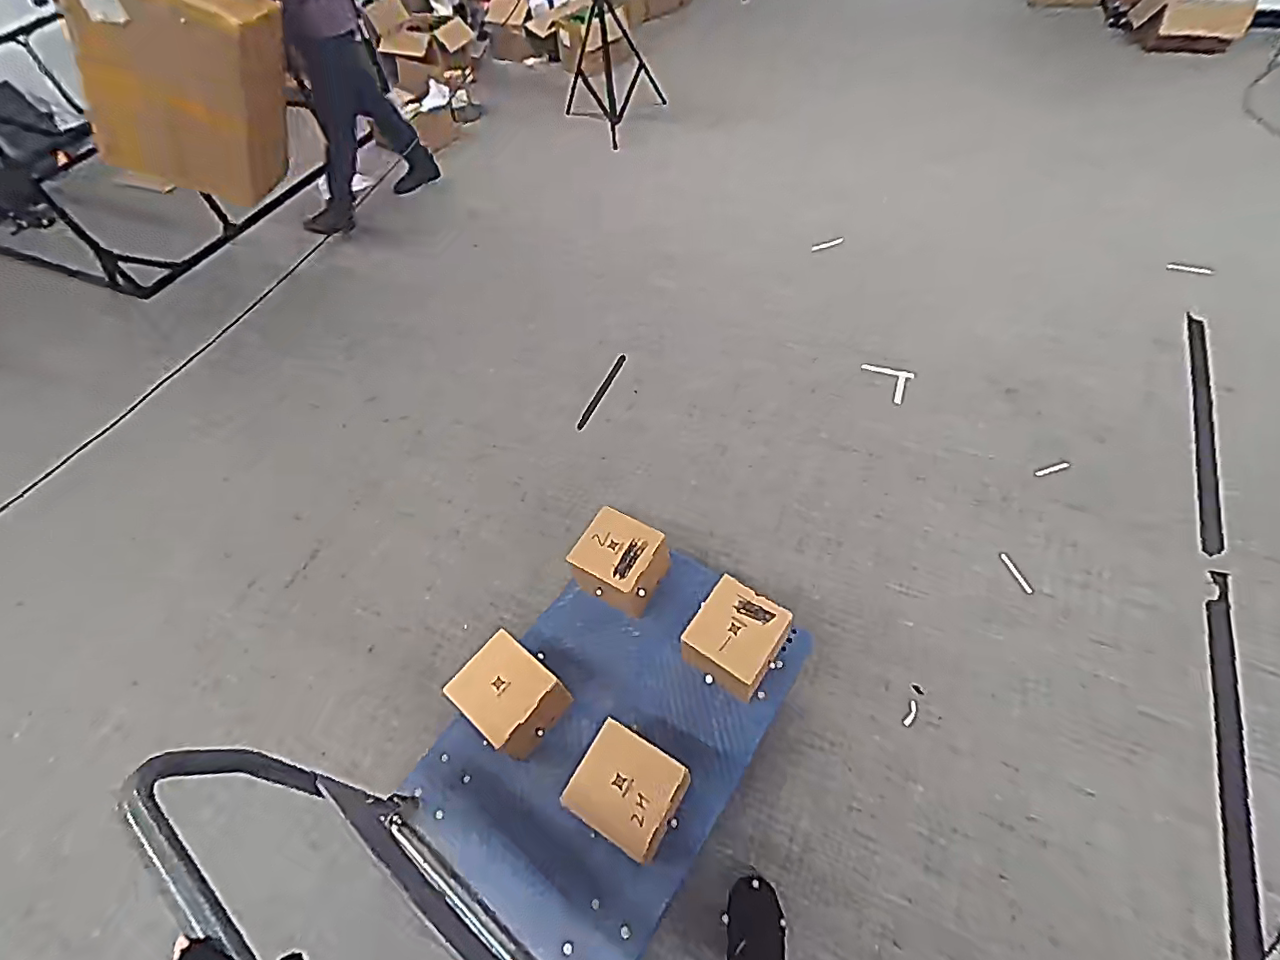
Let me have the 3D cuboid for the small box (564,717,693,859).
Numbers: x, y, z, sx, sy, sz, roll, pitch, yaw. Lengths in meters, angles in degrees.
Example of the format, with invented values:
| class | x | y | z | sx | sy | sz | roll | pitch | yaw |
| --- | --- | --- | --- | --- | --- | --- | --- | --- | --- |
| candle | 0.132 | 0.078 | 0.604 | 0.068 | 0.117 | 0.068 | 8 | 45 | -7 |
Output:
| class | x | y | z | sx | sy | sz | roll | pitch | yaw |
| --- | --- | --- | --- | --- | --- | --- | --- | --- | --- |
| small box | -0.014 | 0.587 | 1.026 | 0.179 | 0.176 | 0.168 | 24 | 62 | 23 |

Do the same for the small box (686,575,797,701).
| class | x | y | z | sx | sy | sz | roll | pitch | yaw |
| --- | --- | --- | --- | --- | --- | --- | --- | --- | --- |
| small box | 0.214 | 0.343 | 1.166 | 0.168 | 0.176 | 0.179 | 29 | 65 | 25 |

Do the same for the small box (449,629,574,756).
| class | x | y | z | sx | sy | sz | roll | pitch | yaw |
| --- | --- | --- | --- | --- | --- | --- | --- | --- | --- |
| small box | -0.266 | 0.457 | 1.152 | 0.179 | 0.176 | 0.168 | 33 | 64 | 24 |
